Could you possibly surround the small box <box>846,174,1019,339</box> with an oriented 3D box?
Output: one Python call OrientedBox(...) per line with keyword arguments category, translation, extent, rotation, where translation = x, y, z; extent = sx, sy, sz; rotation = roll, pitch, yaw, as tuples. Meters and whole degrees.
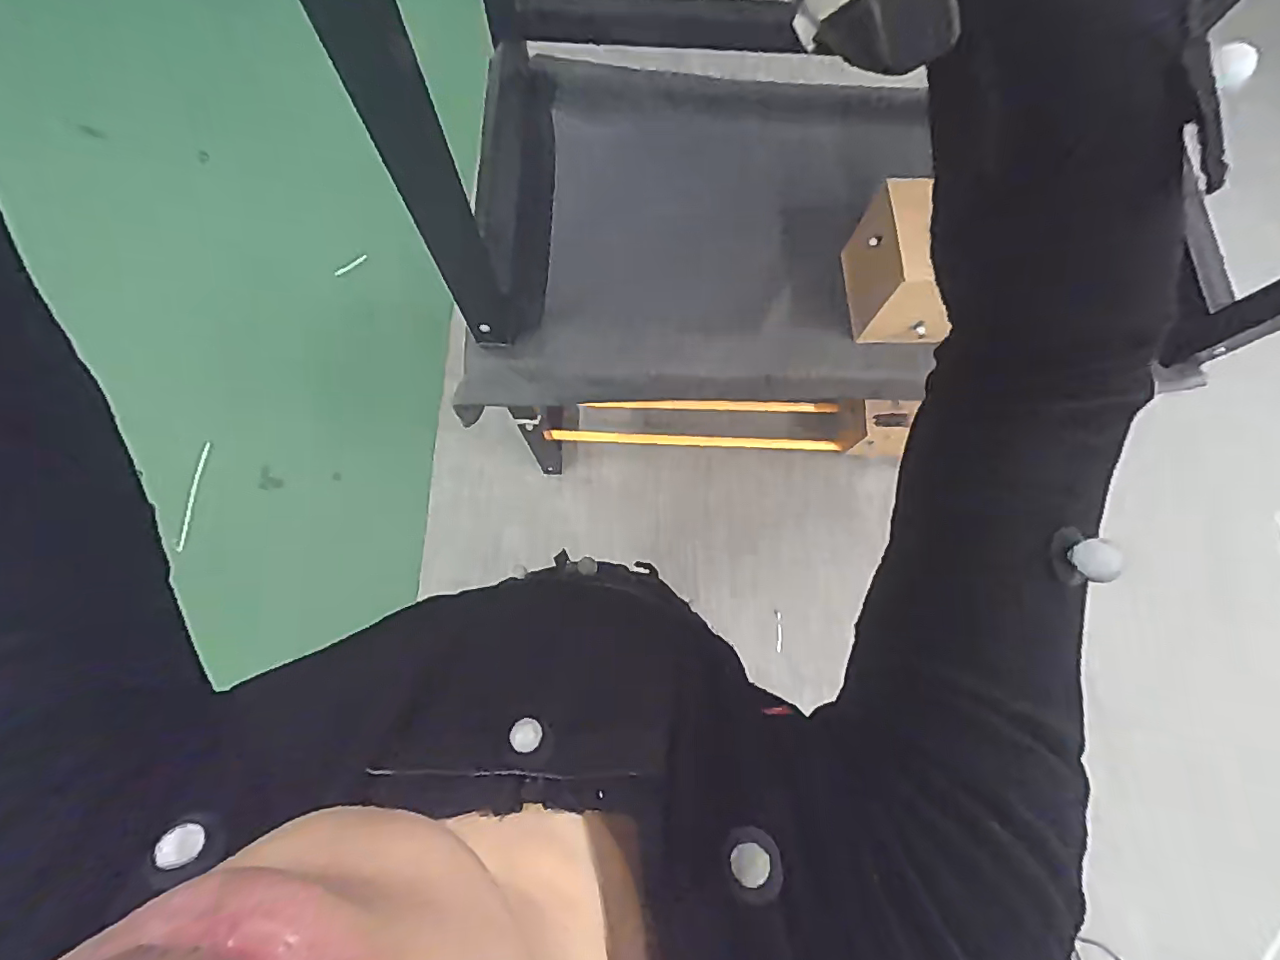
OrientedBox(category="small box", translation=(0.439, -0.342, 0.844), extent=(0.168, 0.176, 0.179), rotation=(-1, 74, -2))
